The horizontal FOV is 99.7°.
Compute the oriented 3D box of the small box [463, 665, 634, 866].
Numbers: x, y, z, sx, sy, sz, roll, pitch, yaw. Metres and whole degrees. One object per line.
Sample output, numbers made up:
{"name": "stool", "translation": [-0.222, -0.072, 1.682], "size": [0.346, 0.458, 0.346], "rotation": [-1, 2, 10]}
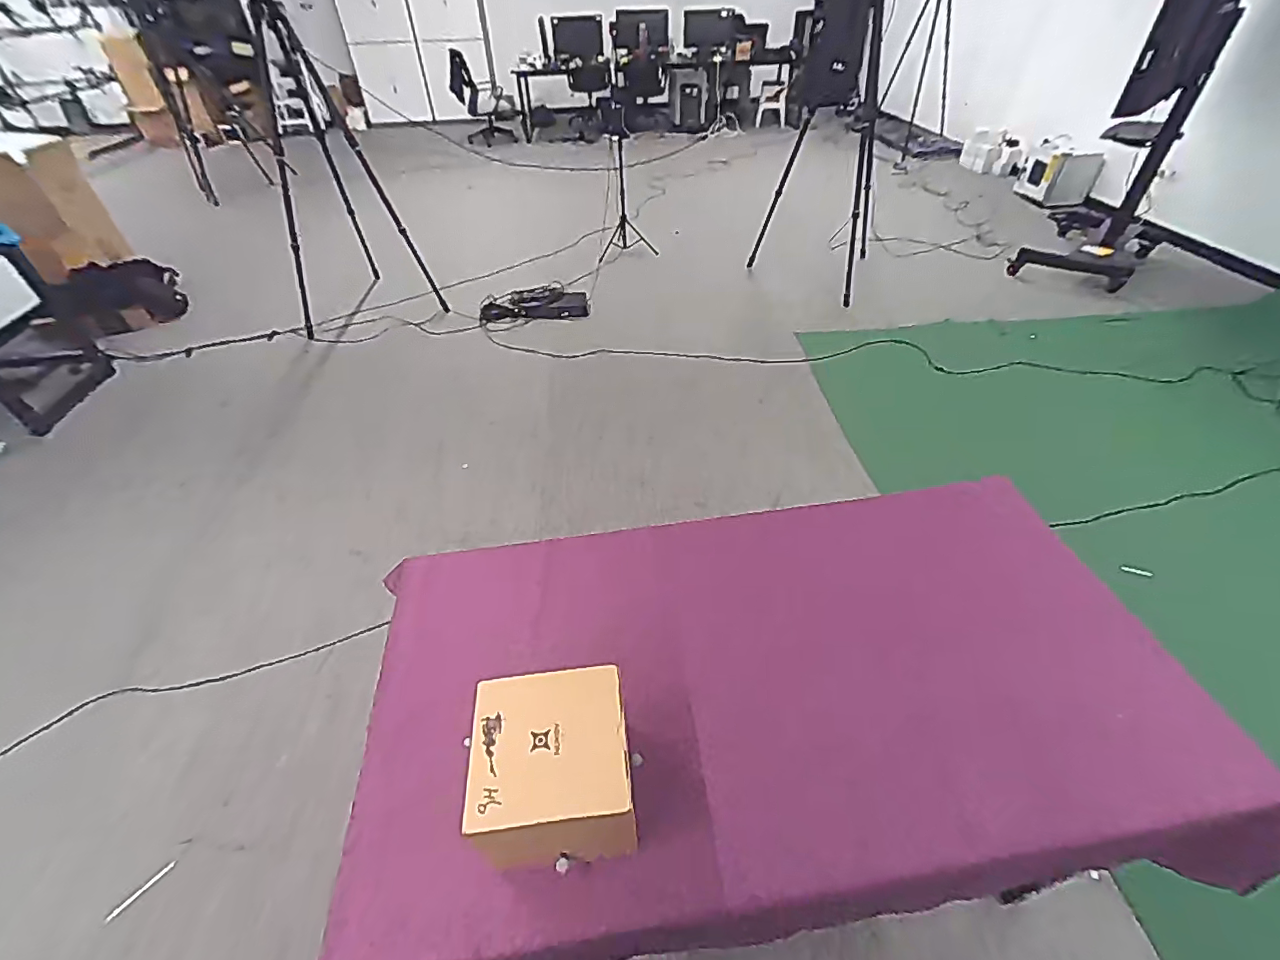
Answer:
{"name": "small box", "translation": [-0.100, 0.350, 0.664], "size": [0.179, 0.176, 0.168], "rotation": [-5, 42, -3]}
